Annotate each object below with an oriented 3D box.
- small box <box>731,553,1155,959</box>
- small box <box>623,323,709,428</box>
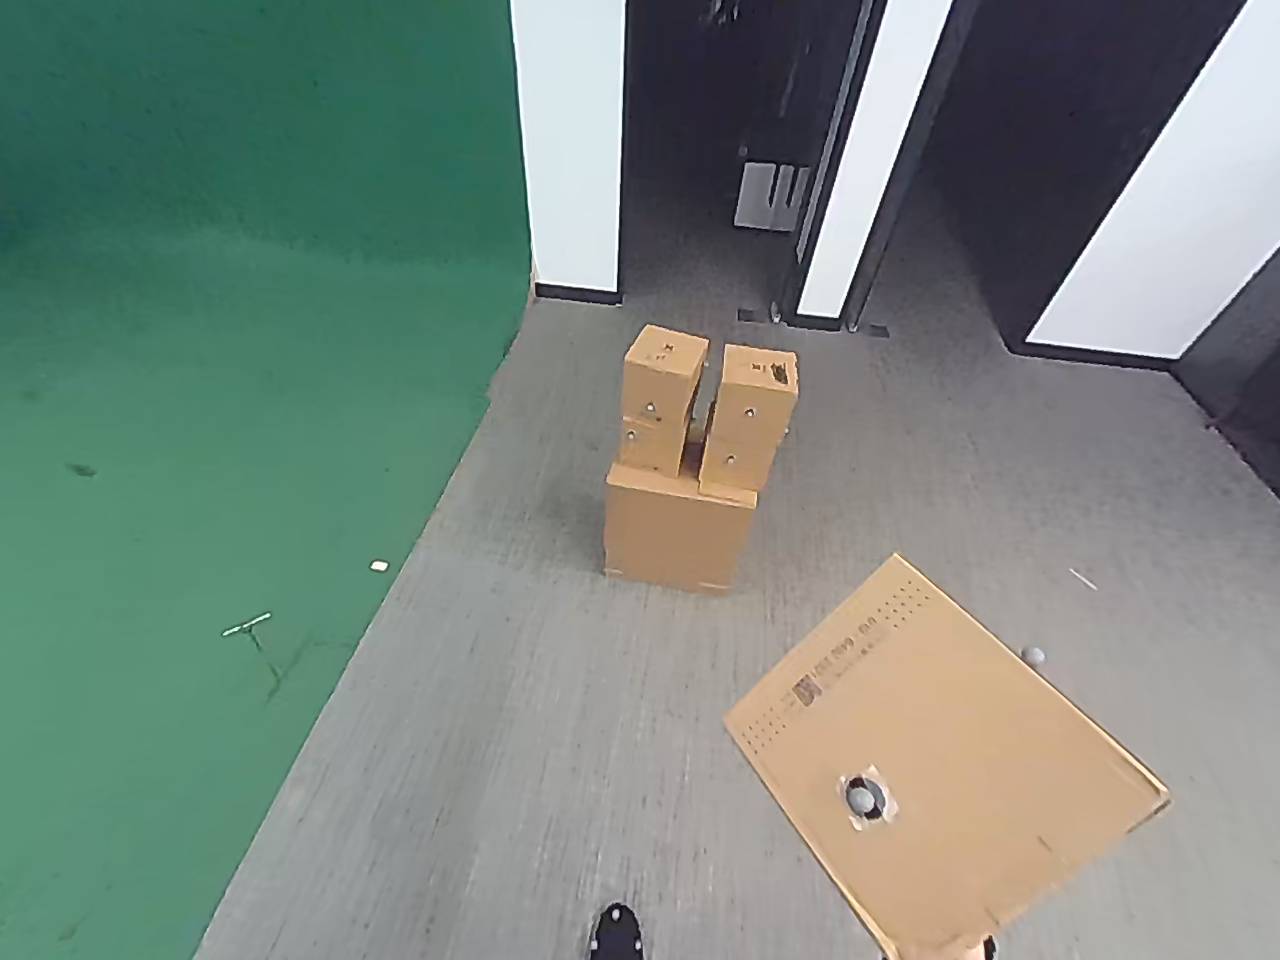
[{"bbox_3d":[0.194,0.175,0.386,0.168,0.179,0.176,-46,55,8],"label":"small box"},{"bbox_3d":[0.061,-0.262,1.355,0.168,0.176,0.179,17,48,10],"label":"small box"}]
